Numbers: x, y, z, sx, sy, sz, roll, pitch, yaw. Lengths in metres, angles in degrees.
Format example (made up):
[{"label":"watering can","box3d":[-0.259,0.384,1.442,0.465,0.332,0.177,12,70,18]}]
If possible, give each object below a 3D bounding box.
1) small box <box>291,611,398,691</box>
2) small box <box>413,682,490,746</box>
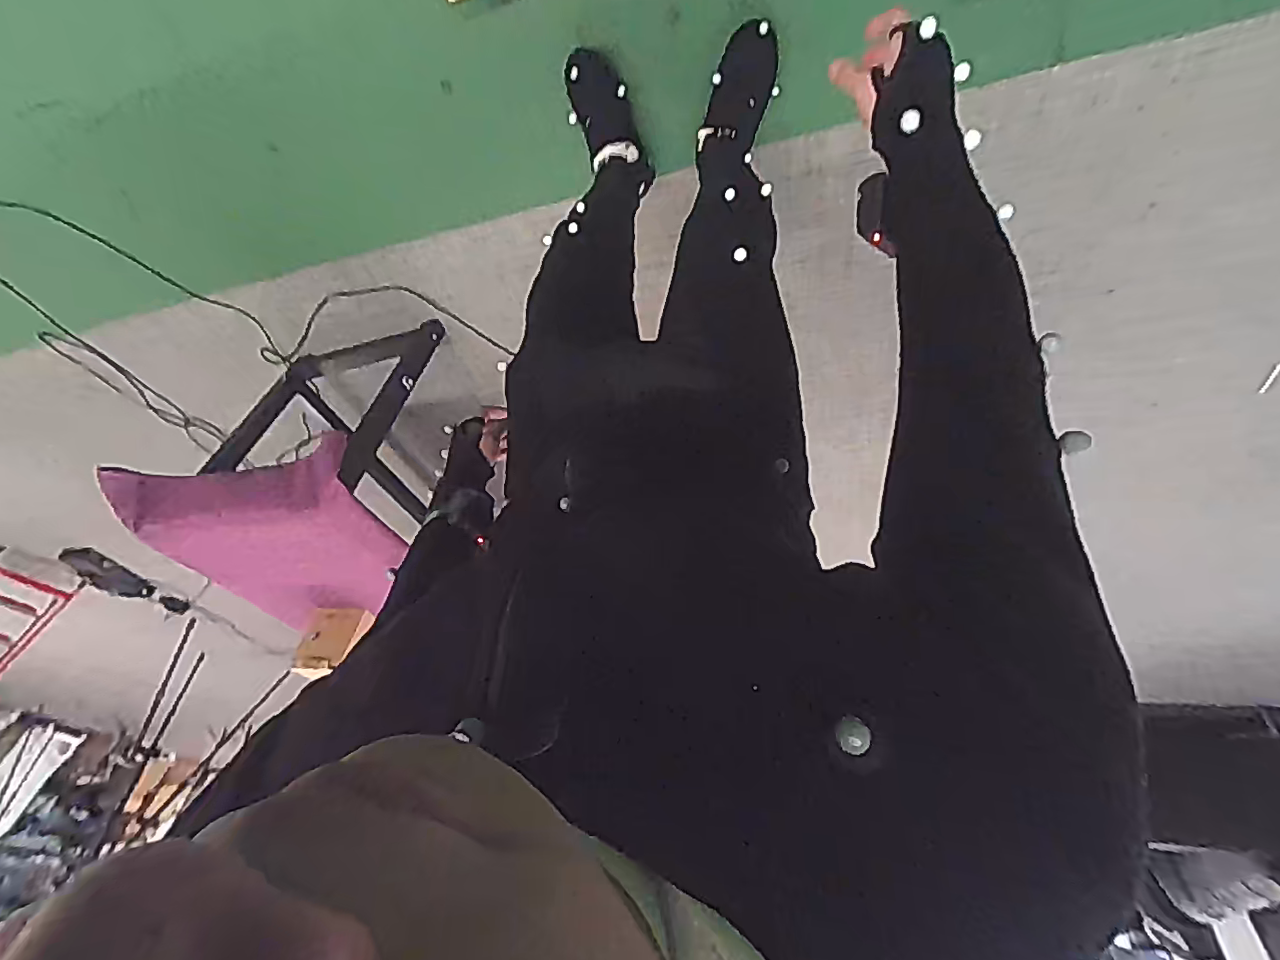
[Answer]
[{"label":"small box","box3d":[-0.830,0.483,1.536,0.168,0.176,0.179,-3,139,14]},{"label":"small box","box3d":[-0.656,0.819,1.901,0.168,0.176,0.179,-6,139,17]}]
